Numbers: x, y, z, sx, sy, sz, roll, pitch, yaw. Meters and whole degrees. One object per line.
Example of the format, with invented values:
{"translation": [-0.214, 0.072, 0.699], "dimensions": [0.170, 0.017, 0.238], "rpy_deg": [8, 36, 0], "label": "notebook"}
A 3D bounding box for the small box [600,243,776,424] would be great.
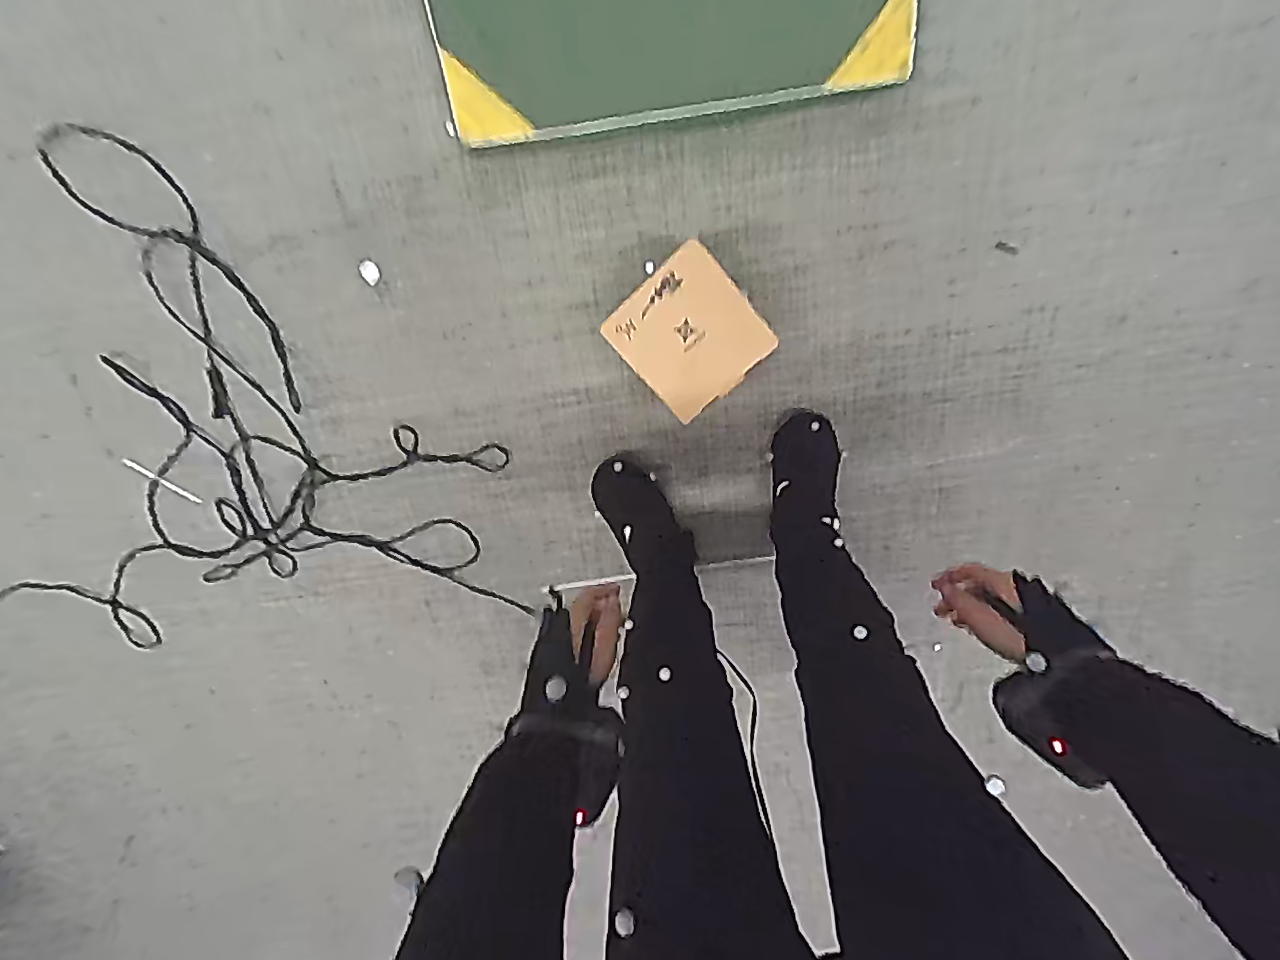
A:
{"translation": [0.065, -0.214, 0.777], "dimensions": [0.168, 0.176, 0.179], "rpy_deg": [-40, 105, 14], "label": "small box"}
